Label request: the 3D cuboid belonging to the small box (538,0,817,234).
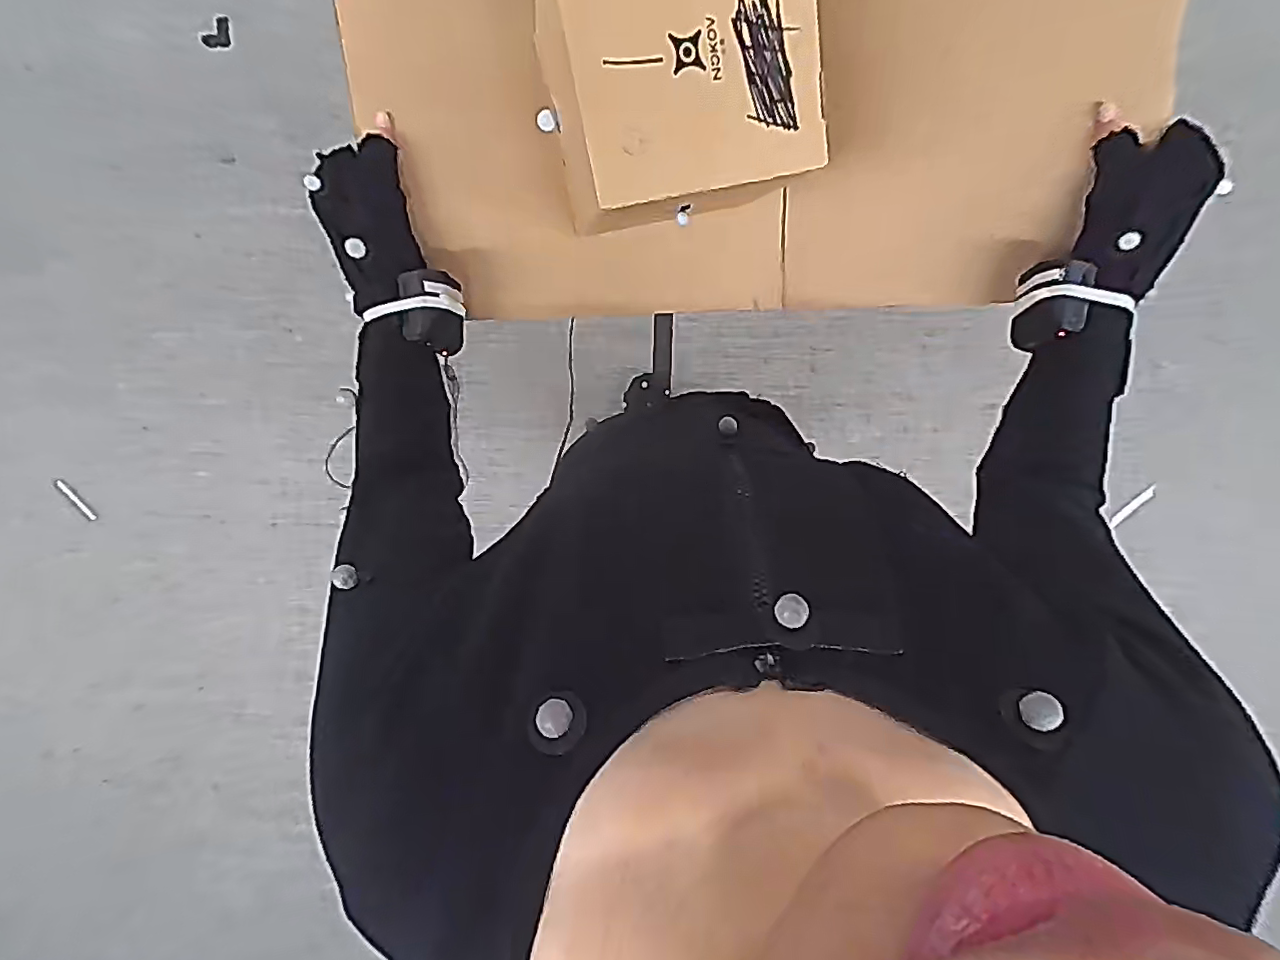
[{"bbox_3d":[0.020,-0.311,0.444,0.179,0.176,0.168,-14,110,-7],"label":"small box"}]
